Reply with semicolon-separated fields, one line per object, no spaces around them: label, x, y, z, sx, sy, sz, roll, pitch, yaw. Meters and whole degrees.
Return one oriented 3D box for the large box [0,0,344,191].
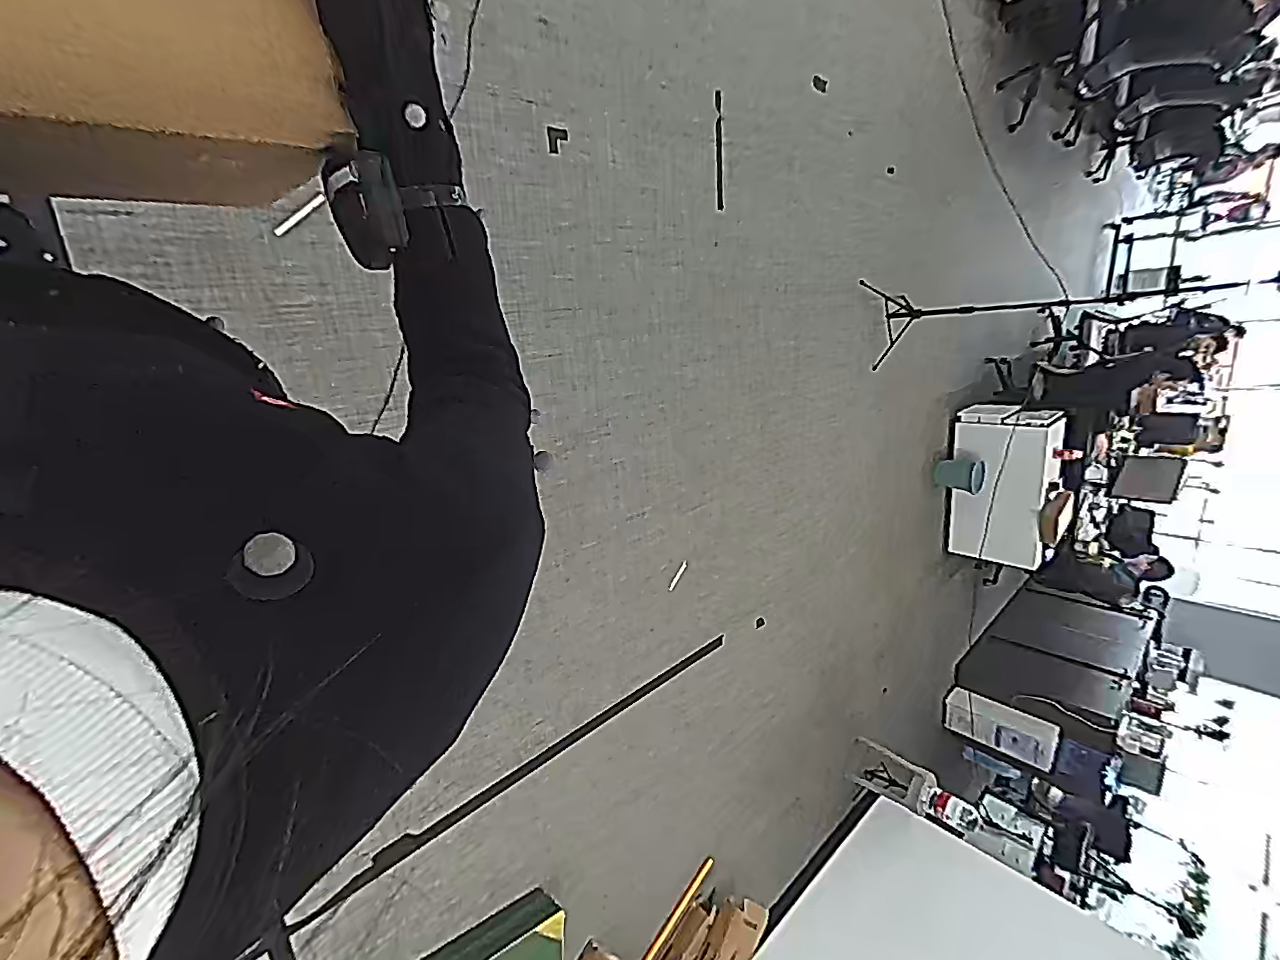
large box;-0.451;-0.355;0.290;0.408;0.320;0.320;-20;119;-39
